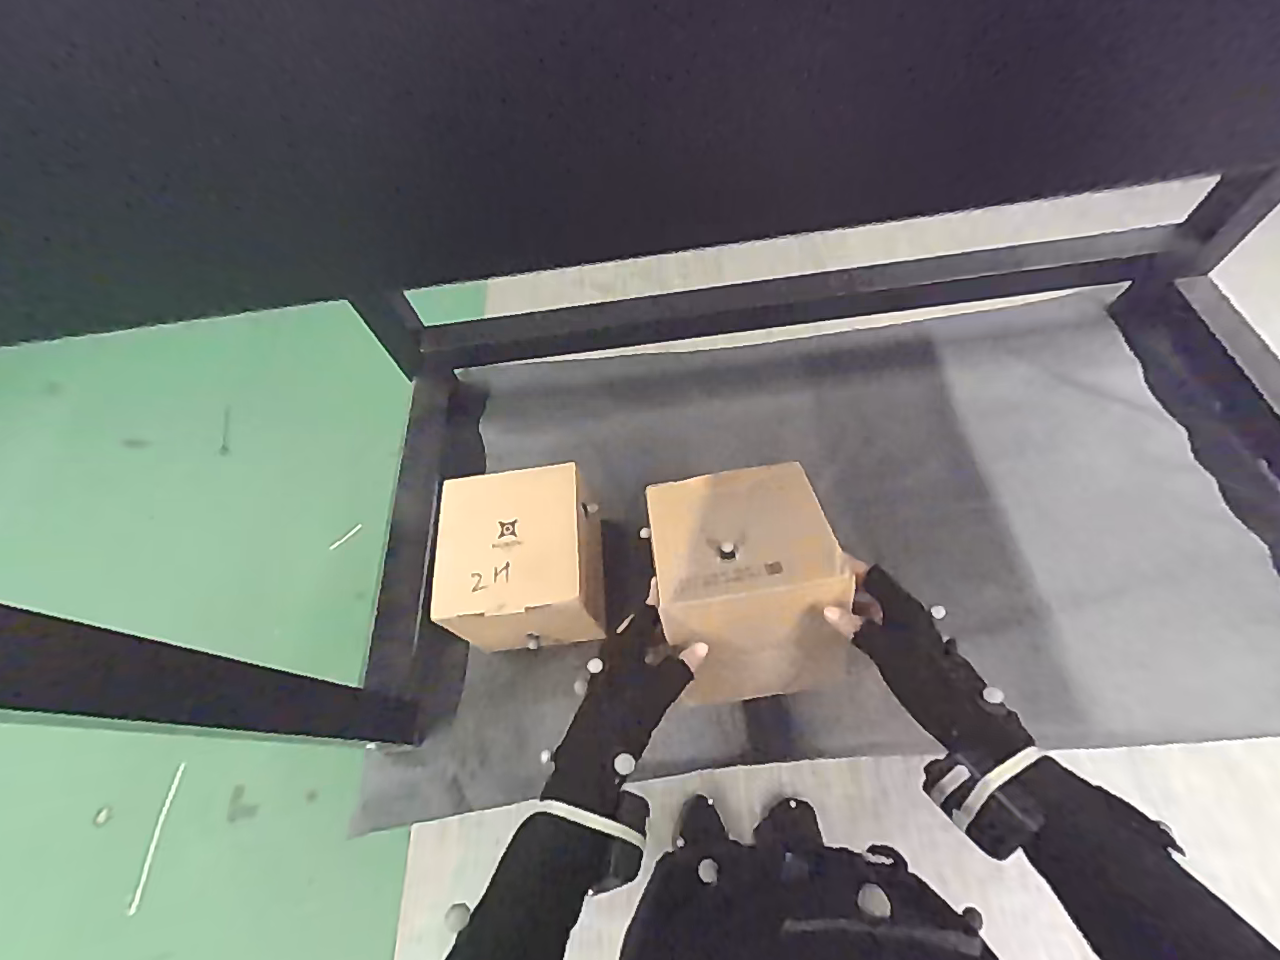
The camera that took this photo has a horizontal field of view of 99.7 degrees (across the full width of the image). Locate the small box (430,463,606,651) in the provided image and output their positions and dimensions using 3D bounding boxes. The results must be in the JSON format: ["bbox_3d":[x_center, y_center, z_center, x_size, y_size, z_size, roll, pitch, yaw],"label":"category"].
[{"bbox_3d":[-0.140,0.102,0.683,0.168,0.176,0.179,-8,60,4],"label":"small box"}]

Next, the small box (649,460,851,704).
[{"bbox_3d":[0.107,0.108,0.562,0.168,0.179,0.176,-10,38,4],"label":"small box"}]
